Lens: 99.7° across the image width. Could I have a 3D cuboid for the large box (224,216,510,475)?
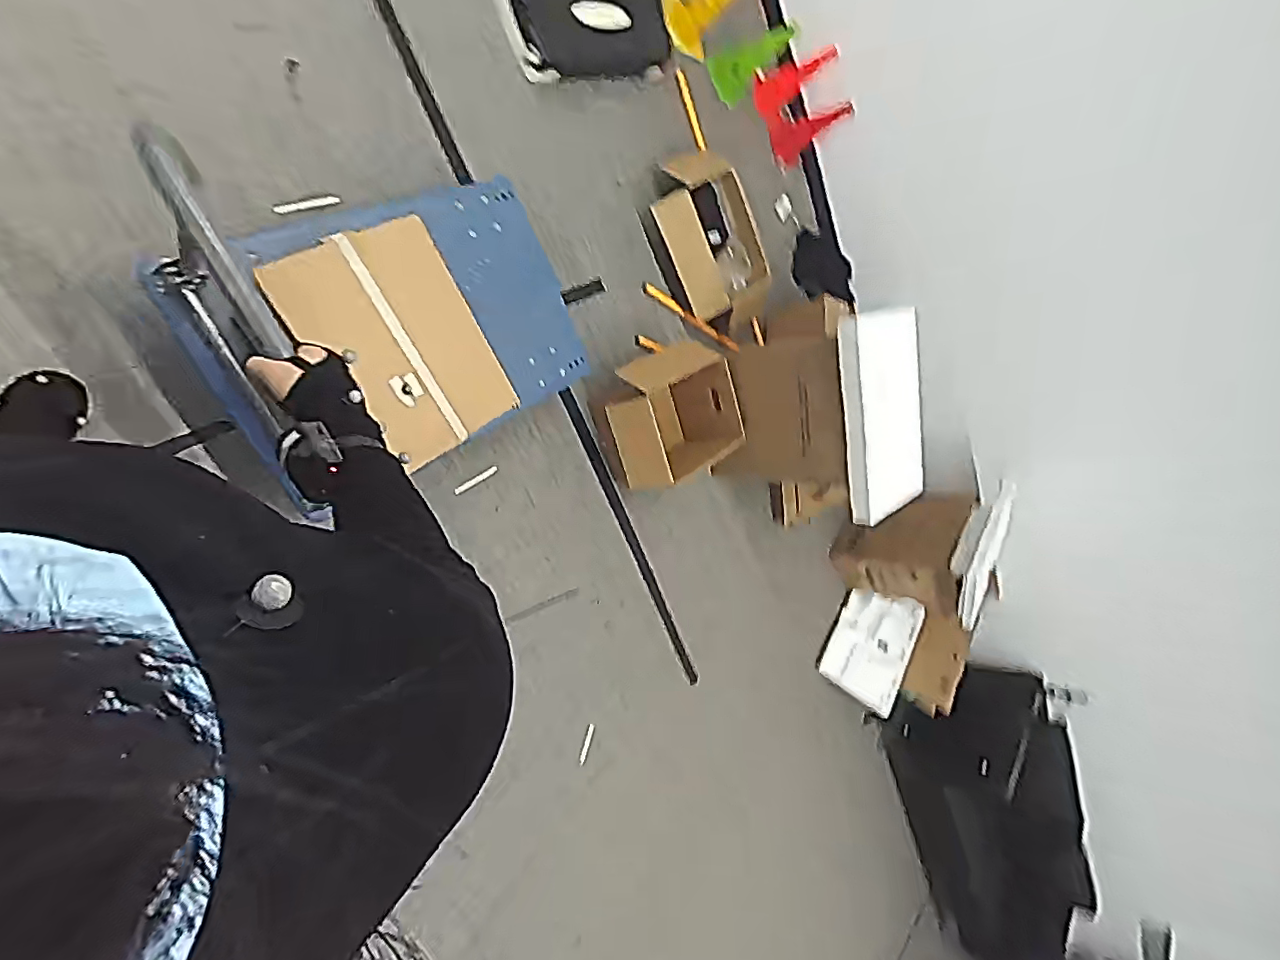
[{"bbox_3d":[-0.555,-0.259,1.122,0.320,0.320,0.408,-41,118,-33],"label":"large box"}]
